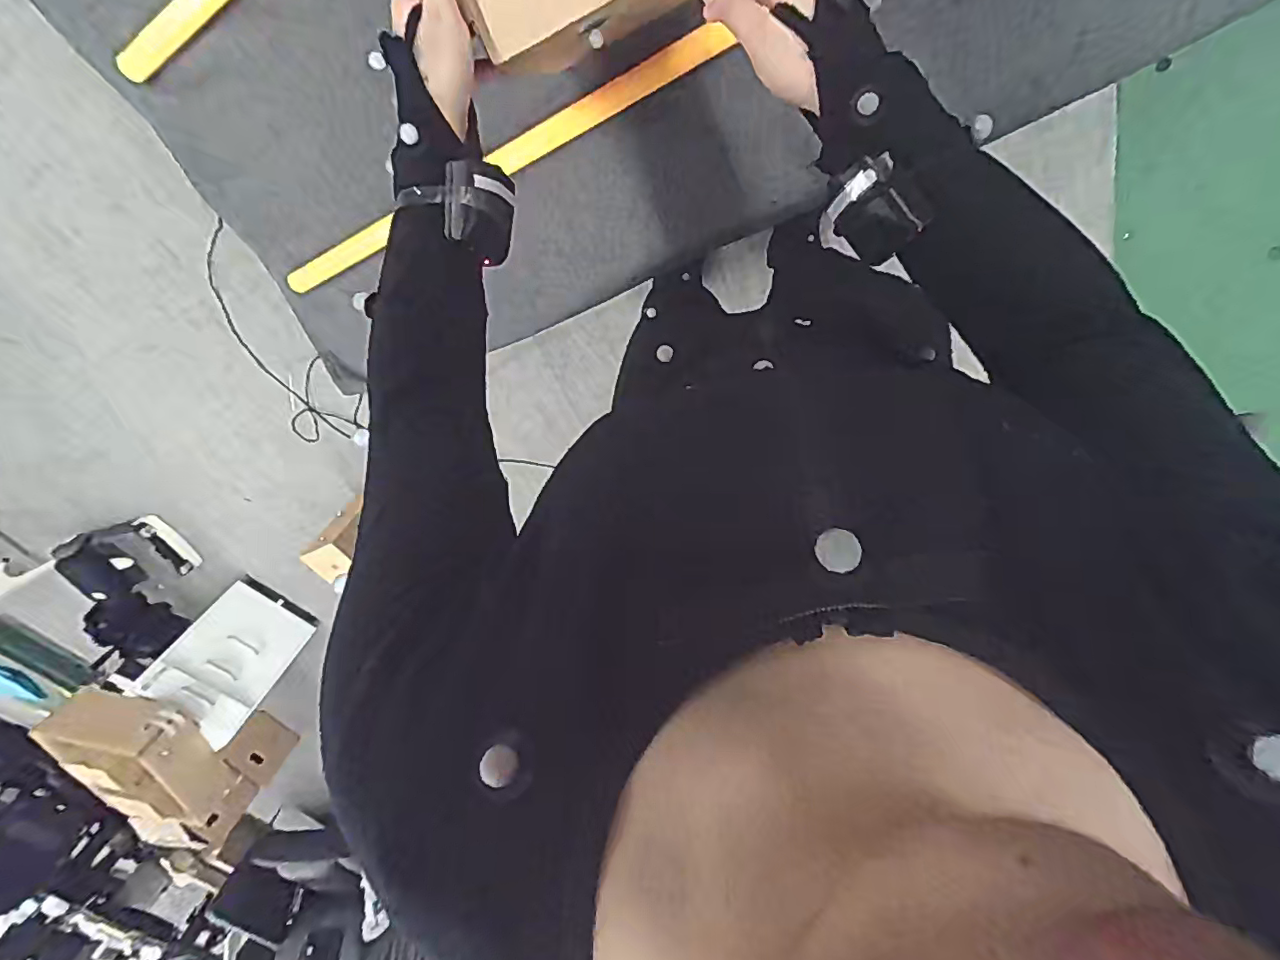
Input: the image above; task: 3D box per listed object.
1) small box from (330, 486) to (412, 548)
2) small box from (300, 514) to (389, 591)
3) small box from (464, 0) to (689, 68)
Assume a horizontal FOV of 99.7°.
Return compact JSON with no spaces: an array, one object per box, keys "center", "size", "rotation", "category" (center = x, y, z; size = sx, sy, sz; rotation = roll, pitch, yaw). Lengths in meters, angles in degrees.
[{"center":[-0.952,0.145,1.939],"size":[0.179,0.176,0.168],"rotation":[-19,121,24],"category":"small box"},{"center":[-0.972,0.237,1.804],"size":[0.179,0.176,0.168],"rotation":[-21,120,25],"category":"small box"},{"center":[-0.049,-0.439,0.405],"size":[0.179,0.176,0.168],"rotation":[-14,123,20],"category":"small box"}]
